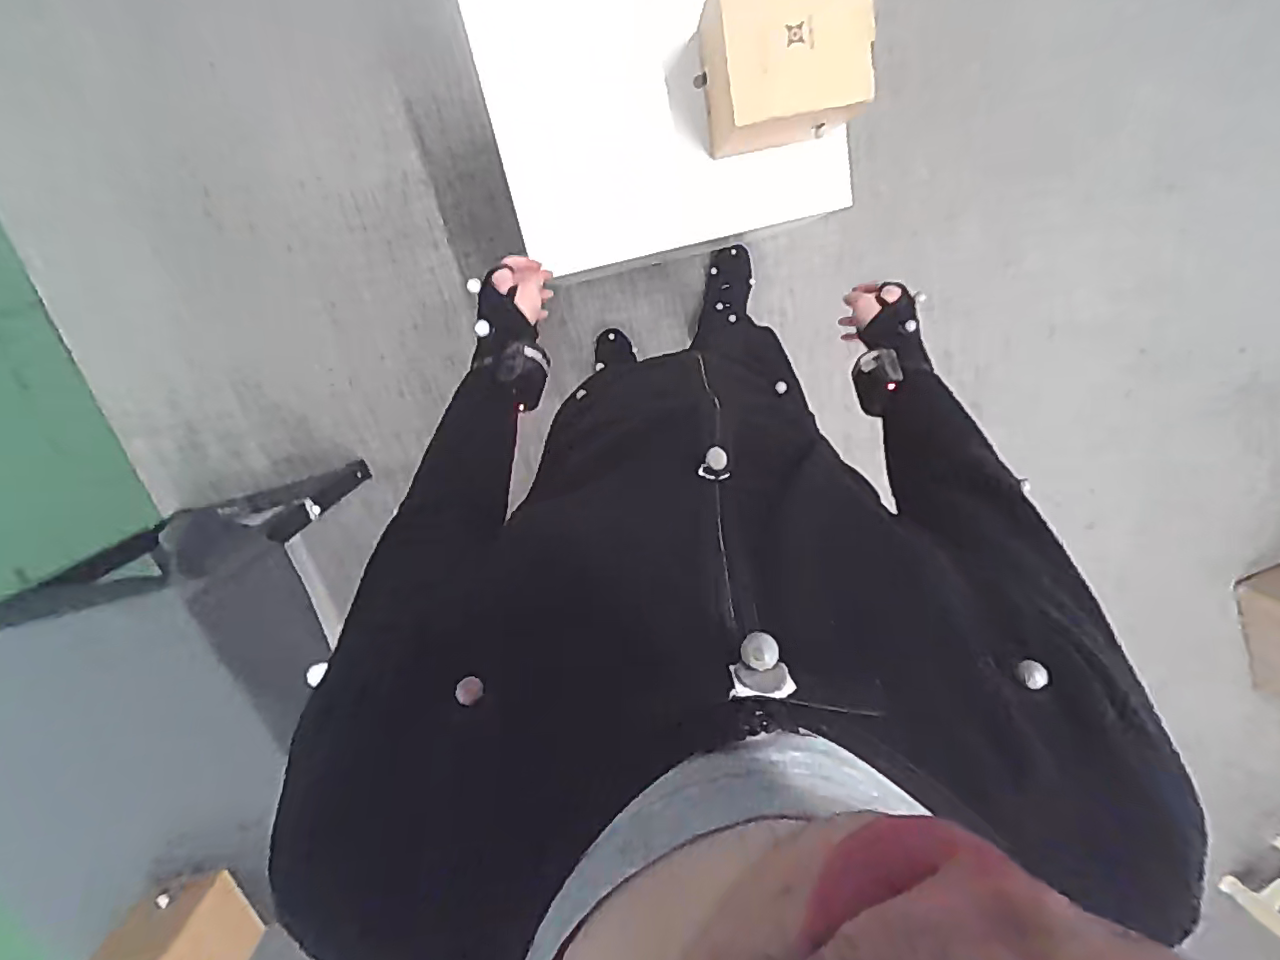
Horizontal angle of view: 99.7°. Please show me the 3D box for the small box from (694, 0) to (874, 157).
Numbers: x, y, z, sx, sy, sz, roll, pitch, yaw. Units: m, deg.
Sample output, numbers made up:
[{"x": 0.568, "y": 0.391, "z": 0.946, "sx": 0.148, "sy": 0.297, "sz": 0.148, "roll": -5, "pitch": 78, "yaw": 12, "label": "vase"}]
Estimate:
[{"x": 0.176, "y": -0.540, "z": 0.694, "sx": 0.179, "sy": 0.176, "sz": 0.168, "roll": -11, "pitch": 108, "yaw": 2, "label": "small box"}]

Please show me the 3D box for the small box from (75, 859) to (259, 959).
[{"x": -0.844, "y": 0.838, "z": 0.979, "sx": 0.168, "sy": 0.176, "sz": 0.179, "roll": -13, "pitch": 108, "yaw": 1, "label": "small box"}]
